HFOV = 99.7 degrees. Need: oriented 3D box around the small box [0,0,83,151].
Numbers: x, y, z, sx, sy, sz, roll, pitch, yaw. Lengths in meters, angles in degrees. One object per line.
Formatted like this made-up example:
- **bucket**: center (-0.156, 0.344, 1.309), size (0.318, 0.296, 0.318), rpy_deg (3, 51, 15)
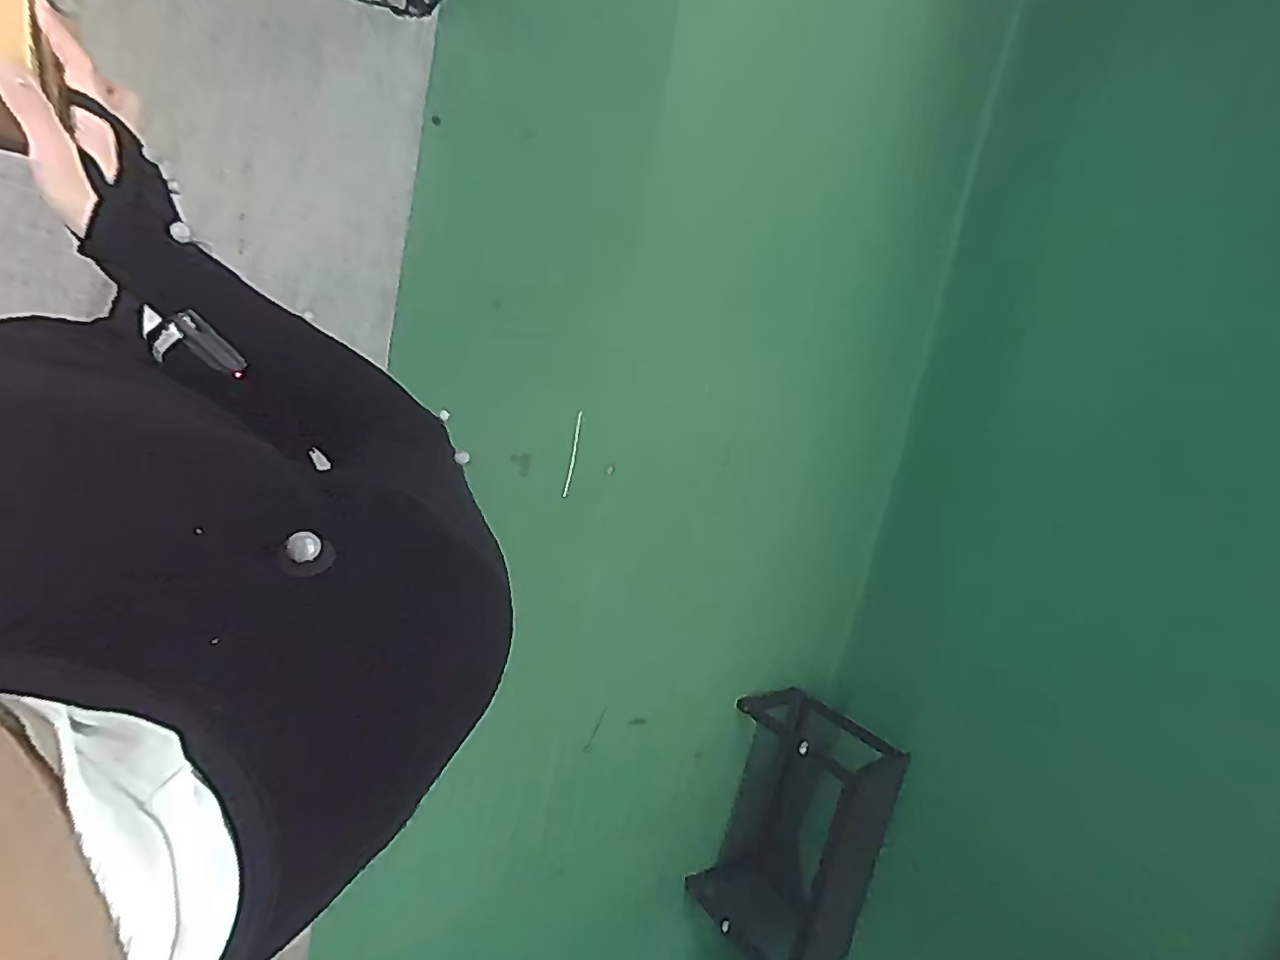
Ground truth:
- **small box**: center (-0.523, -0.373, 0.378), size (0.168, 0.176, 0.179), rpy_deg (0, 98, -39)
